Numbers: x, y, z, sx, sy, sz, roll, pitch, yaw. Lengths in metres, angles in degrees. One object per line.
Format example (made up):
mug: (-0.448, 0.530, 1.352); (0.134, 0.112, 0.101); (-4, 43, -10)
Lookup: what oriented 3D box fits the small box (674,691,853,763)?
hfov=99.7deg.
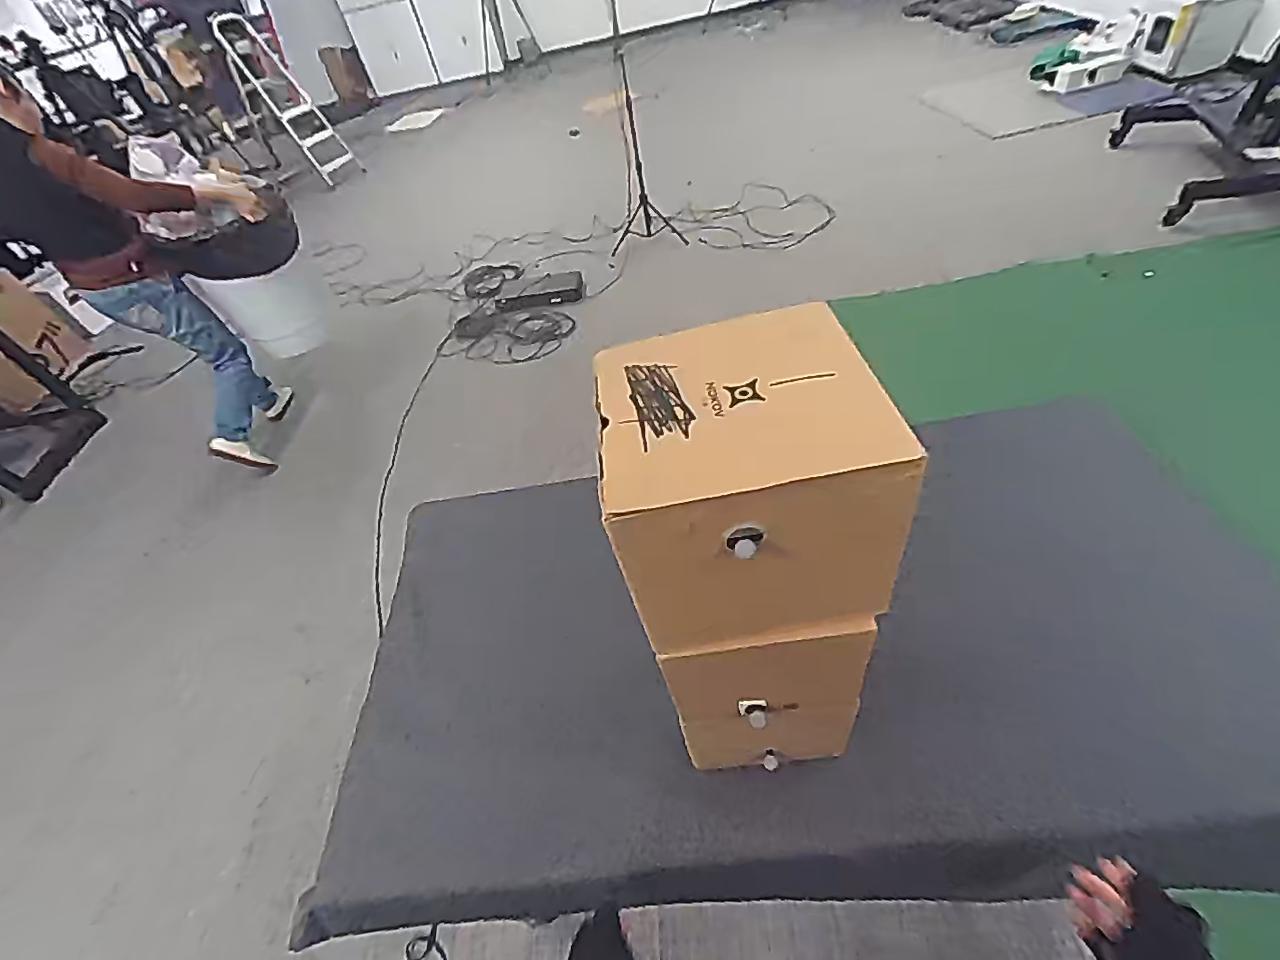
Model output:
small box: (0.130, 0.219, 0.637); (0.179, 0.176, 0.168); (-8, 47, 6)

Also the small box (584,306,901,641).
small box: (0.065, 0.002, 0.402); (0.179, 0.176, 0.168); (-11, 47, 5)

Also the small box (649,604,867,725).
small box: (0.099, 0.112, 0.519); (0.168, 0.176, 0.179); (-10, 48, 7)
